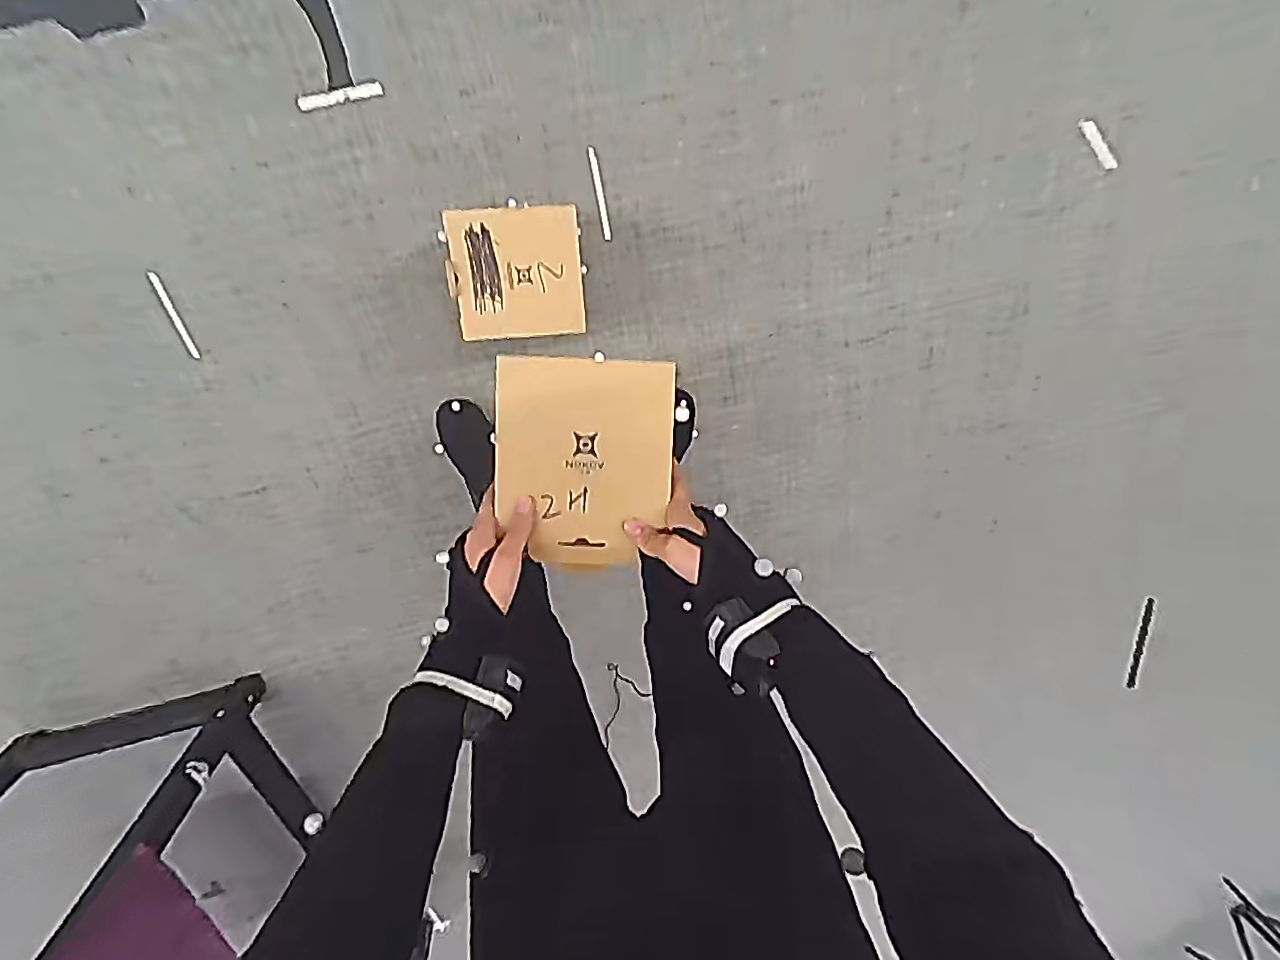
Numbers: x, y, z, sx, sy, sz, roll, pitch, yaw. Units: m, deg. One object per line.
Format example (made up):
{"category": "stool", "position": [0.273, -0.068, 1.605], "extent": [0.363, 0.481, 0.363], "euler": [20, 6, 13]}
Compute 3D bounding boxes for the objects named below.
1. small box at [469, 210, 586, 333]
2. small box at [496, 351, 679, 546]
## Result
{"category": "small box", "position": [-0.190, -0.372, 0.958], "extent": [0.168, 0.176, 0.179], "euler": [-10, 115, -4]}
{"category": "small box", "position": [-0.052, -0.035, 0.584], "extent": [0.168, 0.176, 0.179], "euler": [3, 96, -1]}
